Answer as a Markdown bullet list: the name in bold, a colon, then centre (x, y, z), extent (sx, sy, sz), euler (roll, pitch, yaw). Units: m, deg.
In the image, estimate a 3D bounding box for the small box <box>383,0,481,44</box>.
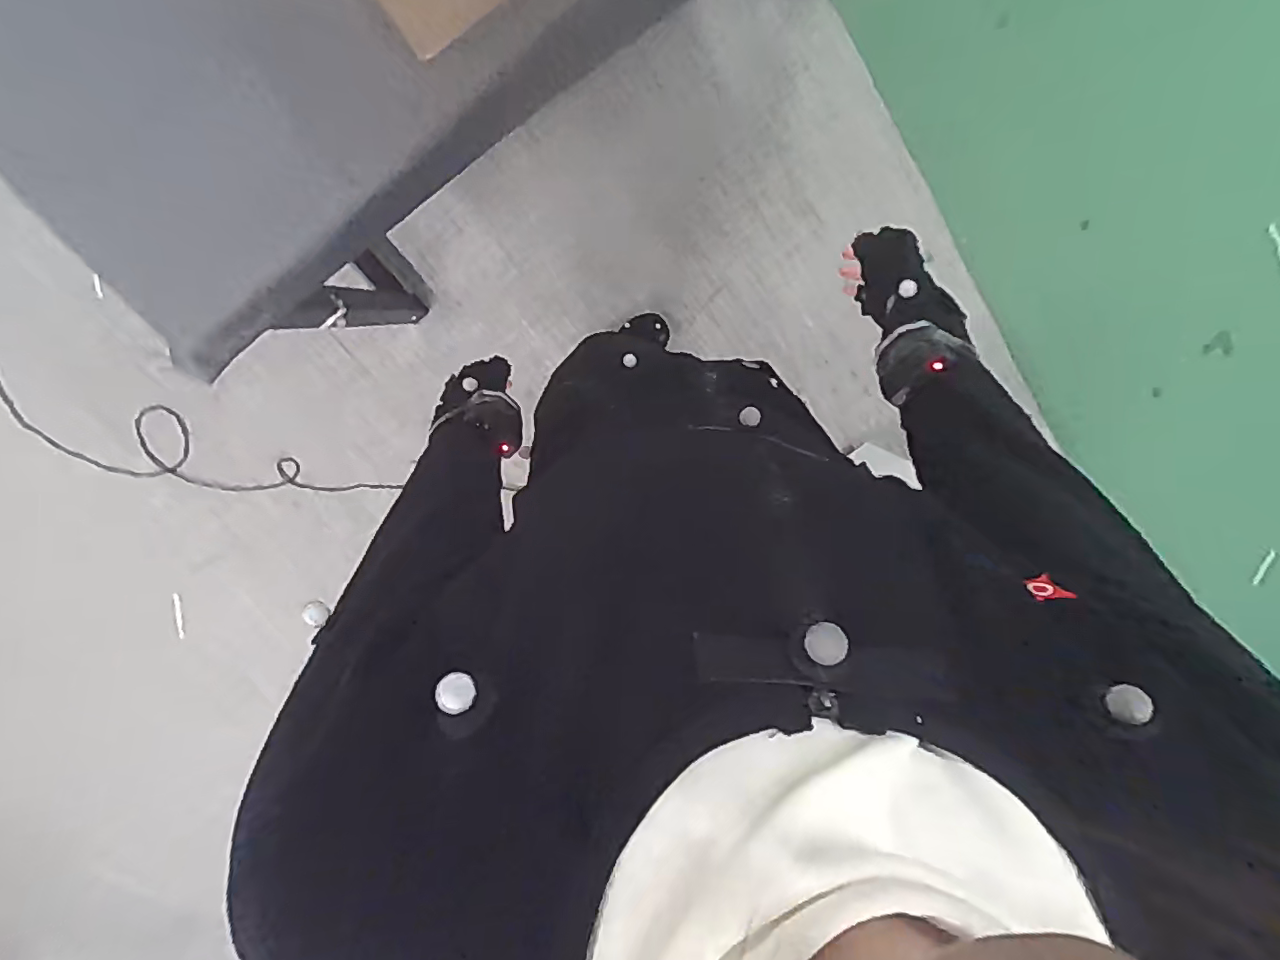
- **small box**: centre (-0.190, -0.517, 0.438), extent (0.179, 0.176, 0.168), euler (-33, 104, 8)
